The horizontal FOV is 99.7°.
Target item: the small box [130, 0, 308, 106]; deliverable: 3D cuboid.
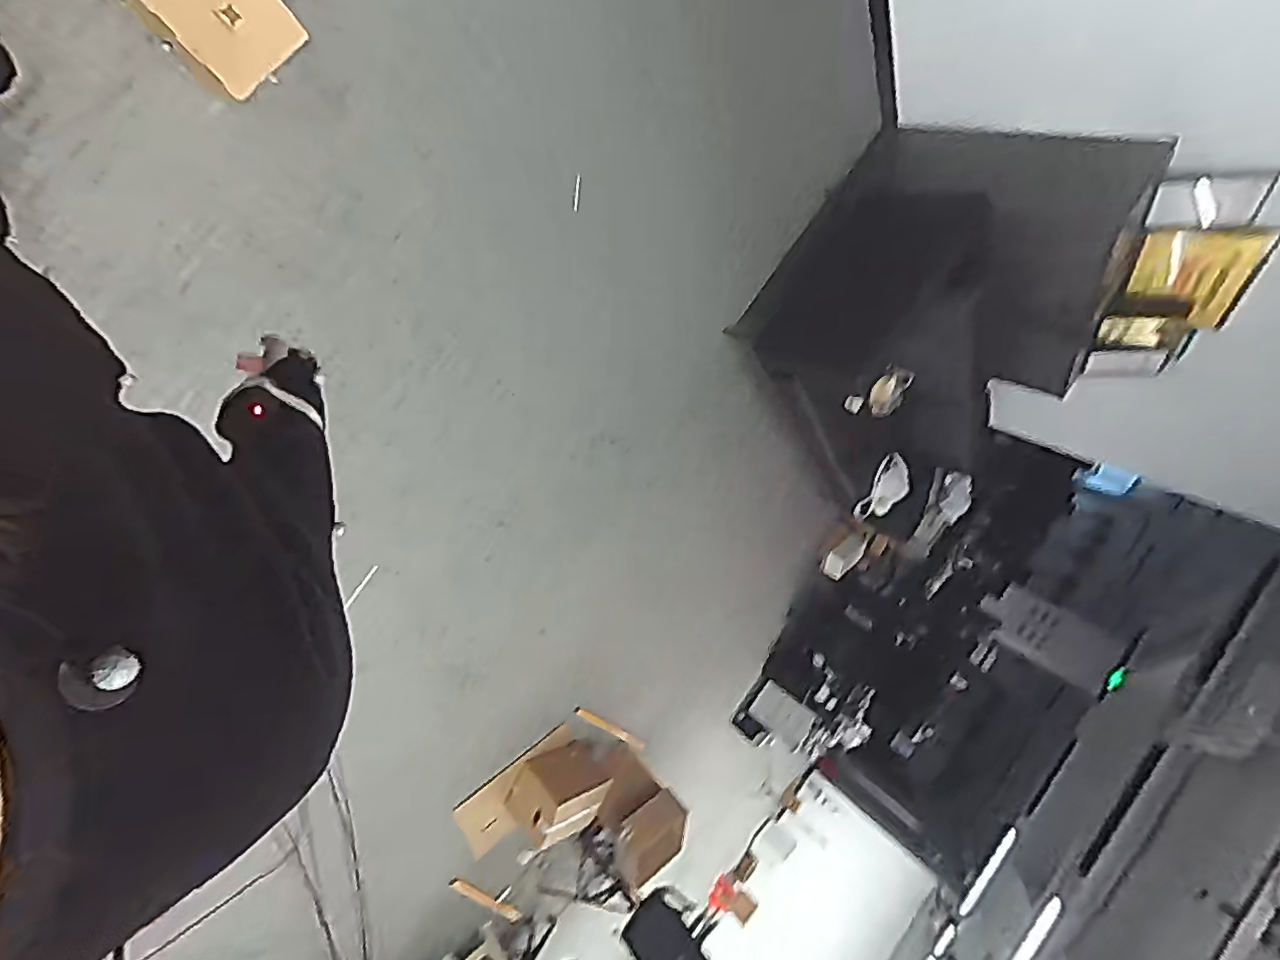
[{"bbox_3d":[-0.728,-0.789,0.933,0.179,0.176,0.168,-51,144,-8],"label":"small box"}]
